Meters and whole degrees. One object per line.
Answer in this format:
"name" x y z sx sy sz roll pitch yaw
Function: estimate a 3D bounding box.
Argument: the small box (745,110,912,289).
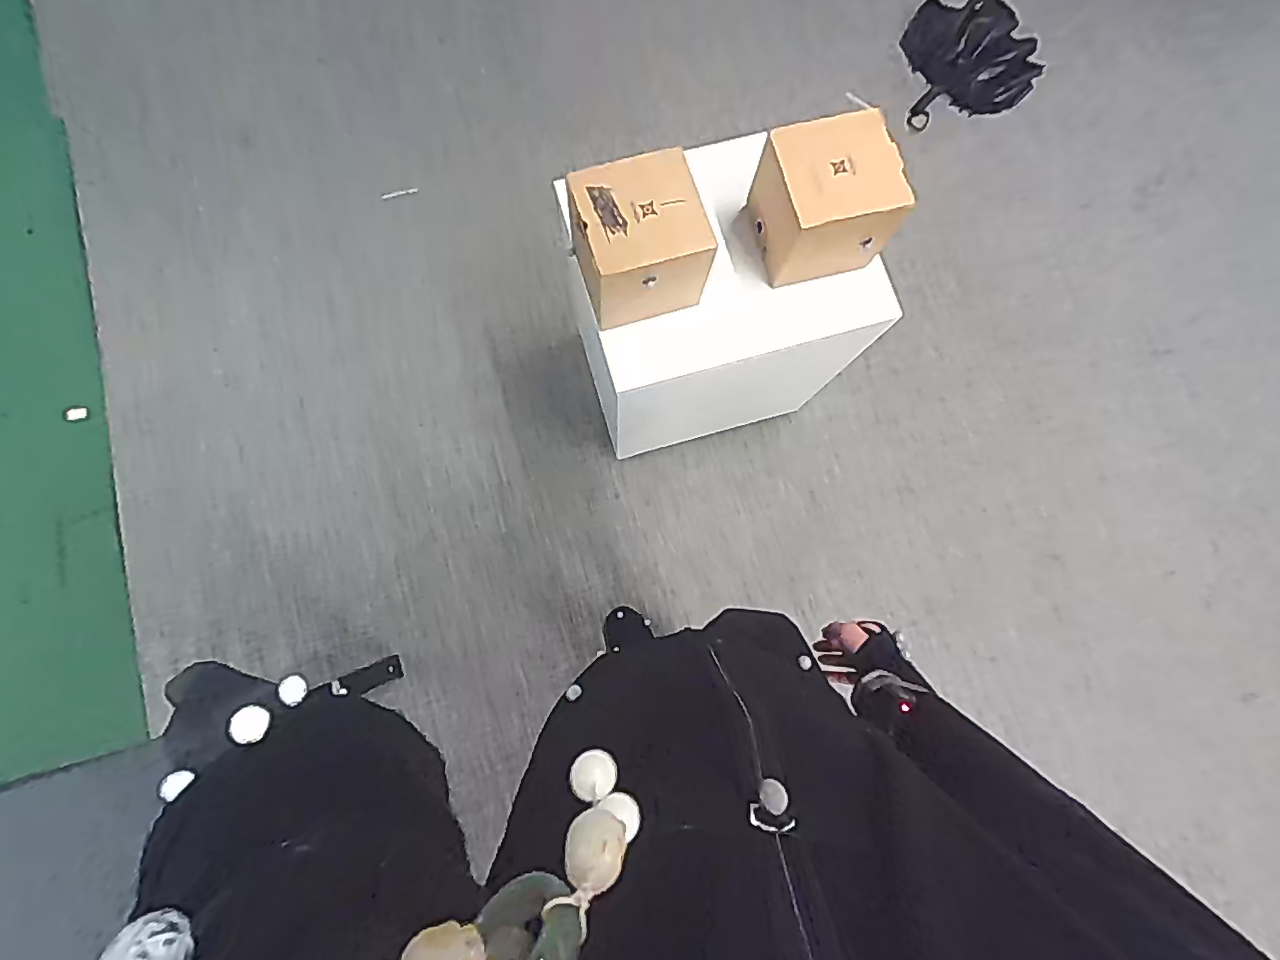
"small box" 0.283 -0.429 0.850 0.179 0.176 0.168 -14 81 -3

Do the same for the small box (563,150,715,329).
"small box" -0.005 -0.354 0.824 0.179 0.176 0.168 -17 82 -7
